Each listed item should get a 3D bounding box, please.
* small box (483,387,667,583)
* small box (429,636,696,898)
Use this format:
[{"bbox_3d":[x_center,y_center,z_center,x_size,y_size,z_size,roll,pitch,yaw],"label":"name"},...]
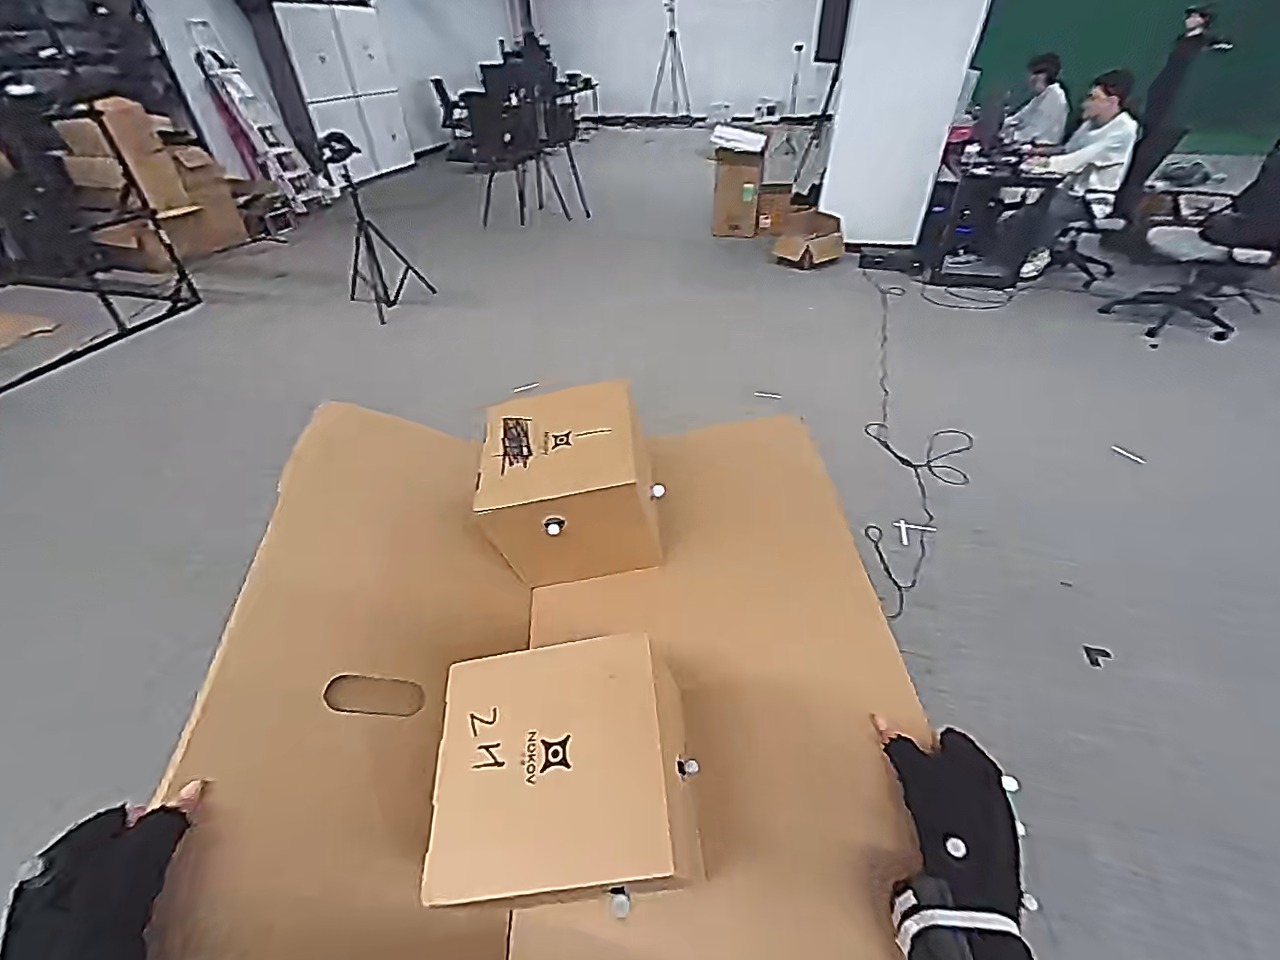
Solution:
[{"bbox_3d":[-0.071,0.013,0.675,0.179,0.176,0.168,-10,50,6],"label":"small box"},{"bbox_3d":[-0.049,0.255,0.472,0.179,0.176,0.168,-11,50,7],"label":"small box"}]
